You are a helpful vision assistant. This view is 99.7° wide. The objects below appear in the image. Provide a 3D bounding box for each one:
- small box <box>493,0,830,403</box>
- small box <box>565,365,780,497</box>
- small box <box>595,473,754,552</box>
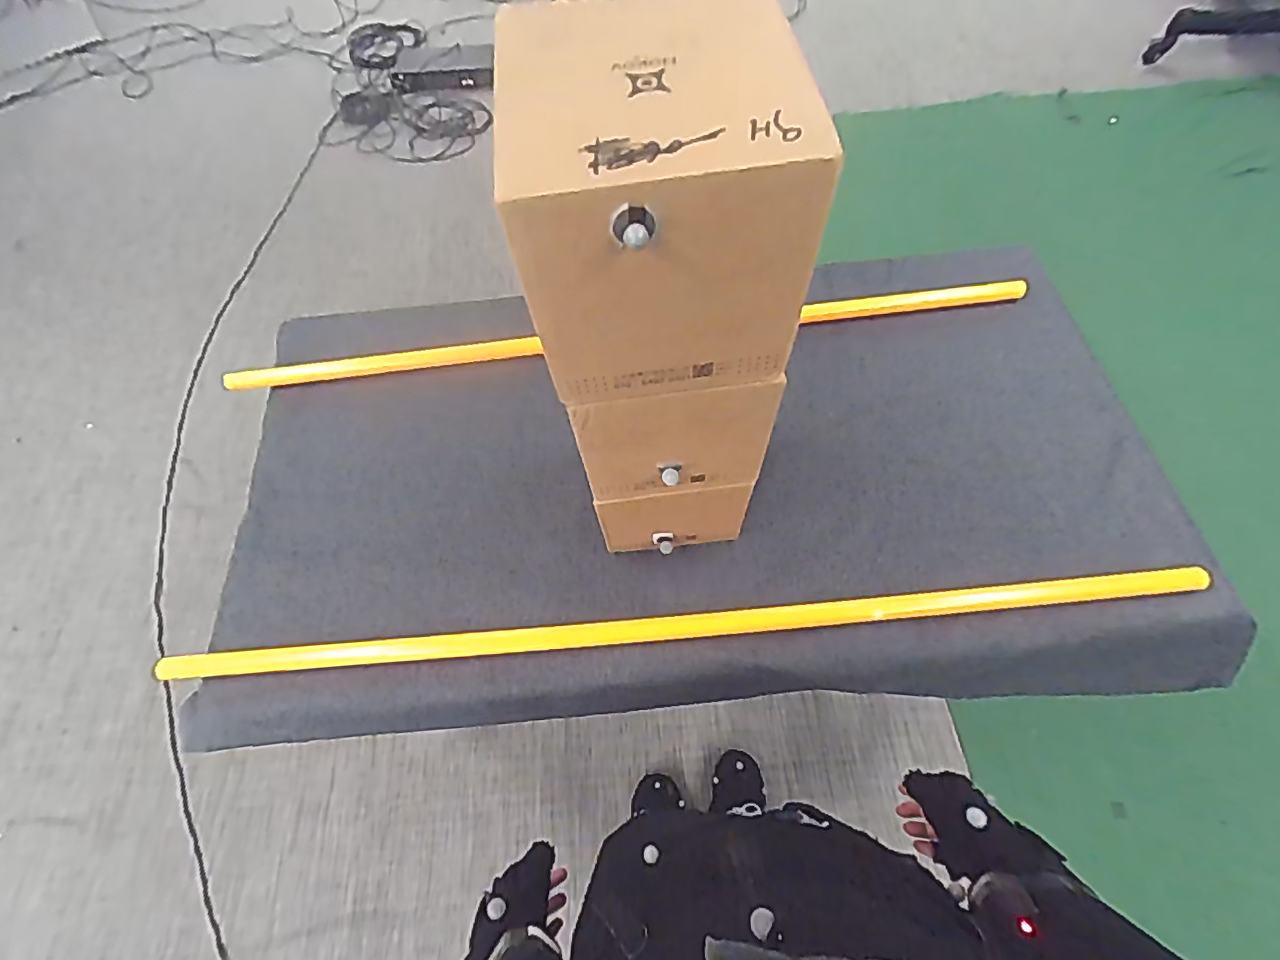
[{"bbox_3d":[0.008,-0.177,0.368,0.168,0.176,0.179,-8,62,1],"label":"small box"},{"bbox_3d":[0.022,-0.103,0.513,0.168,0.176,0.179,-7,64,1],"label":"small box"},{"bbox_3d":[0.031,-0.028,0.659,0.168,0.176,0.179,-8,65,1],"label":"small box"}]
